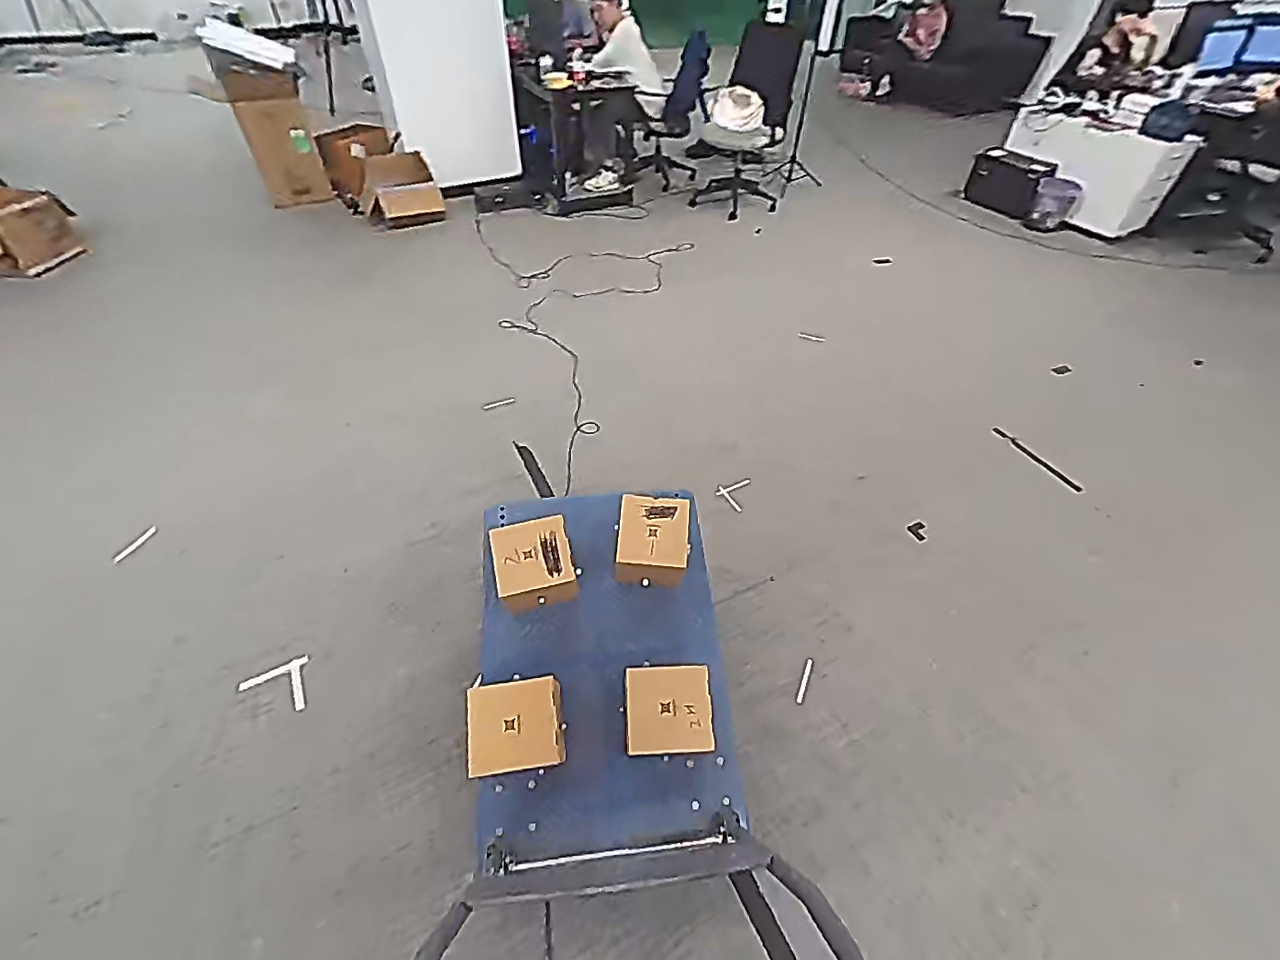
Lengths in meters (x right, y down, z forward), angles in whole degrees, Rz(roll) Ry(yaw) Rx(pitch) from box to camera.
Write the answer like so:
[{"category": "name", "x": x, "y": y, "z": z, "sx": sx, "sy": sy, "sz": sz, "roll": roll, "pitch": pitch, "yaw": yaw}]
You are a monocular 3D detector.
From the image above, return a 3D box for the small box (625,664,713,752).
[{"category": "small box", "x": 0.056, "y": 0.500, "z": 1.177, "sx": 0.179, "sy": 0.176, "sz": 0.168, "roll": 0, "pitch": 64, "yaw": -3}]

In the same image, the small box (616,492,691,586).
[{"category": "small box", "x": 0.031, "y": 0.151, "z": 1.350, "sx": 0.168, "sy": 0.176, "sz": 0.179, "roll": 6, "pitch": 64, "yaw": 0}]

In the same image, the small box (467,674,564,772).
[{"category": "small box", "x": -0.260, "y": 0.519, "z": 1.150, "sx": 0.179, "sy": 0.176, "sz": 0.168, "roll": -6, "pitch": 64, "yaw": -7}]
